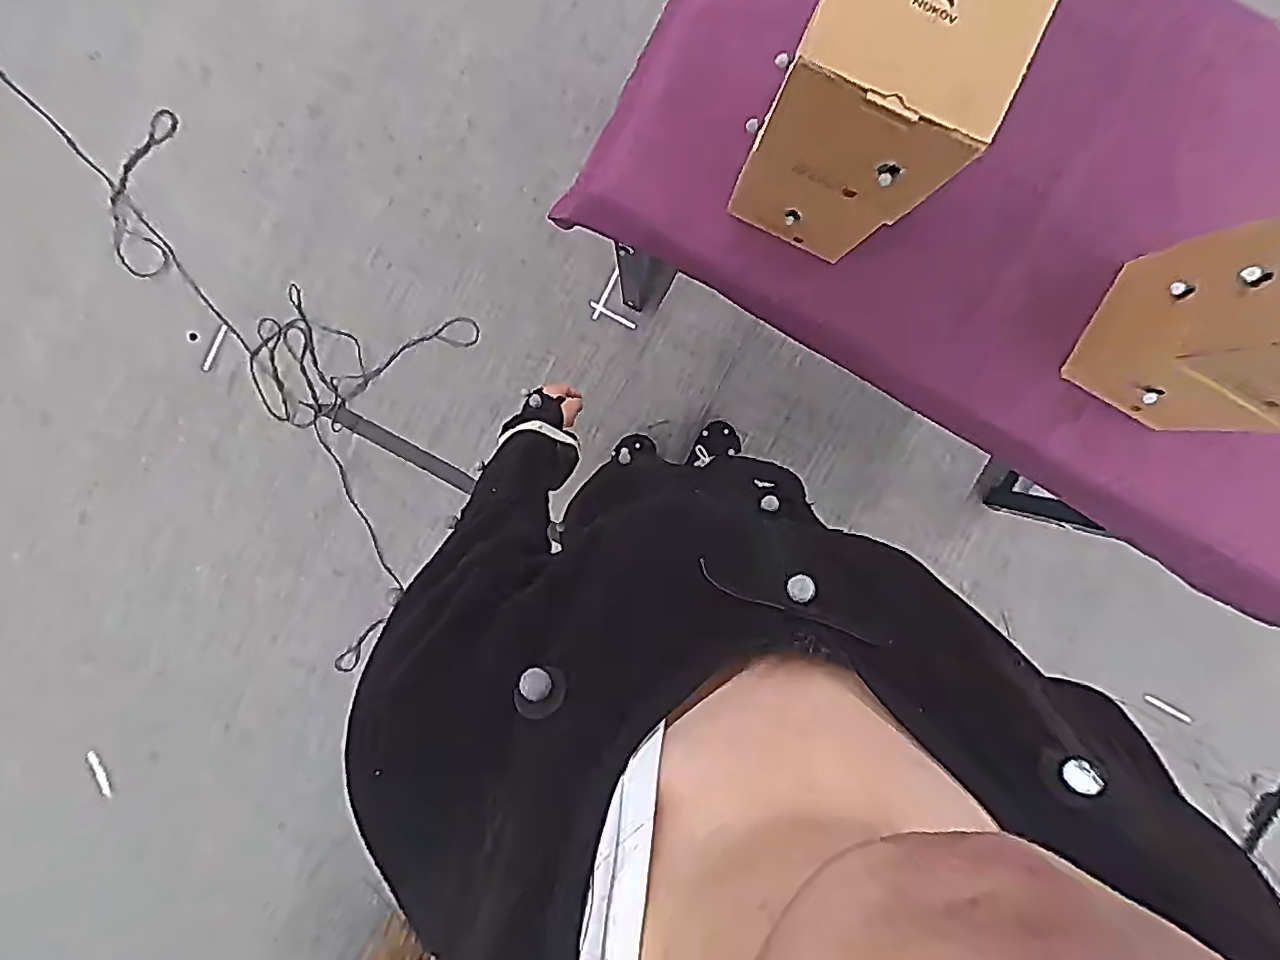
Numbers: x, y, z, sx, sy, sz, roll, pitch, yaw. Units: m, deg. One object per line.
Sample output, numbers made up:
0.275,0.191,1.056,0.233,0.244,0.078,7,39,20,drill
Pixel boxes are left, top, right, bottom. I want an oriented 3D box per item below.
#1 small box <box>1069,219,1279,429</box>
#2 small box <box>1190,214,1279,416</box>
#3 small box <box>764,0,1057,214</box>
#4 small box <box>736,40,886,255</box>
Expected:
0.695,-0.177,0.674,0.168,0.176,0.179,29,95,-3,small box
0.697,-0.163,0.510,0.168,0.176,0.179,30,95,-3,small box
0.227,-0.375,0.484,0.168,0.176,0.179,23,95,-4,small box
0.227,-0.400,0.645,0.168,0.176,0.179,25,95,-3,small box
